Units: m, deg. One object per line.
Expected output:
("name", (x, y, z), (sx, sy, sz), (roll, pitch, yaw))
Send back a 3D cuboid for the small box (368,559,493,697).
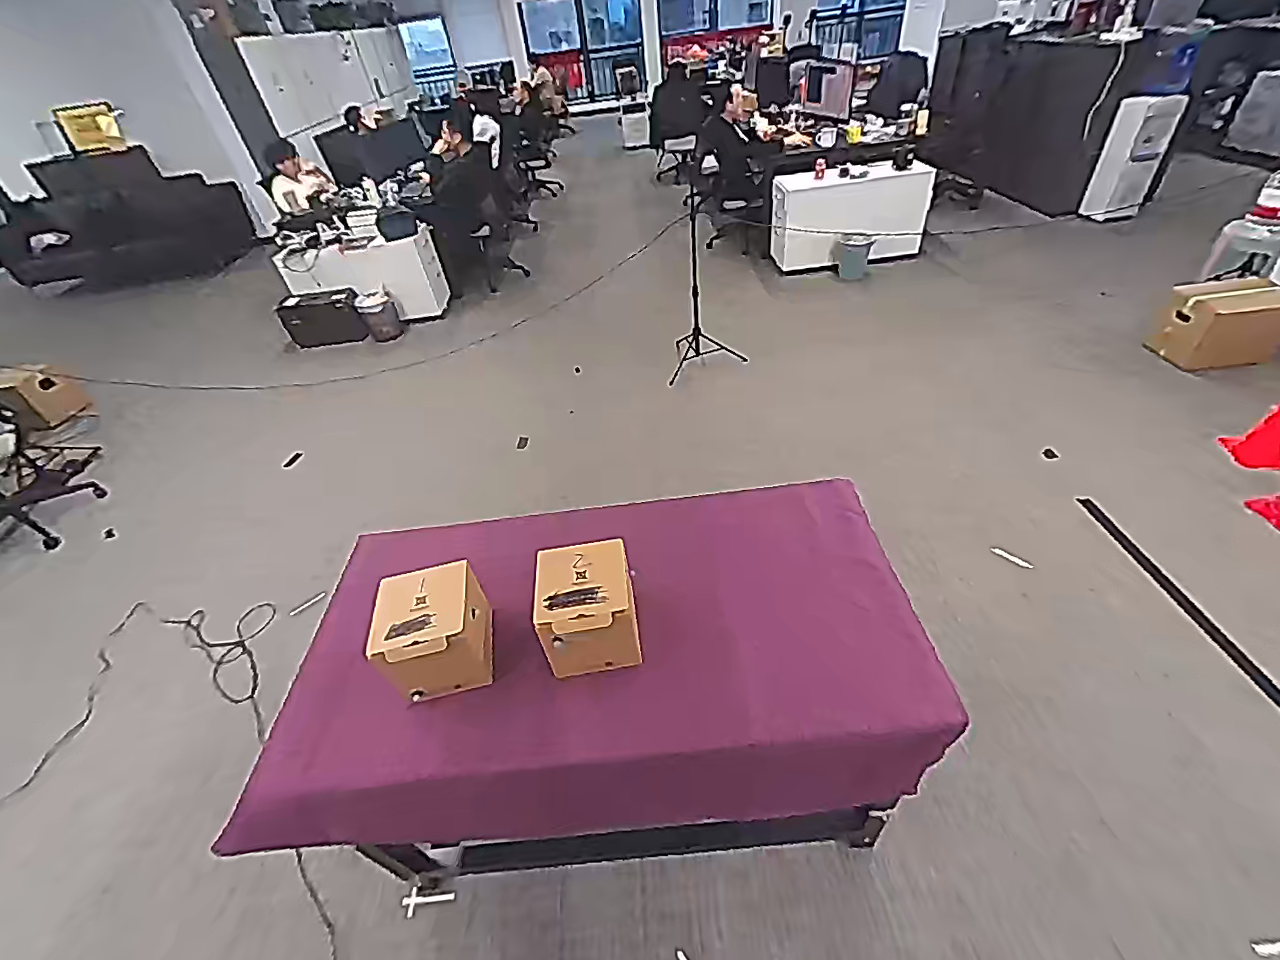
("small box", (-0.379, 0.282, 1.013), (0.168, 0.176, 0.179), (-13, 40, -5))
